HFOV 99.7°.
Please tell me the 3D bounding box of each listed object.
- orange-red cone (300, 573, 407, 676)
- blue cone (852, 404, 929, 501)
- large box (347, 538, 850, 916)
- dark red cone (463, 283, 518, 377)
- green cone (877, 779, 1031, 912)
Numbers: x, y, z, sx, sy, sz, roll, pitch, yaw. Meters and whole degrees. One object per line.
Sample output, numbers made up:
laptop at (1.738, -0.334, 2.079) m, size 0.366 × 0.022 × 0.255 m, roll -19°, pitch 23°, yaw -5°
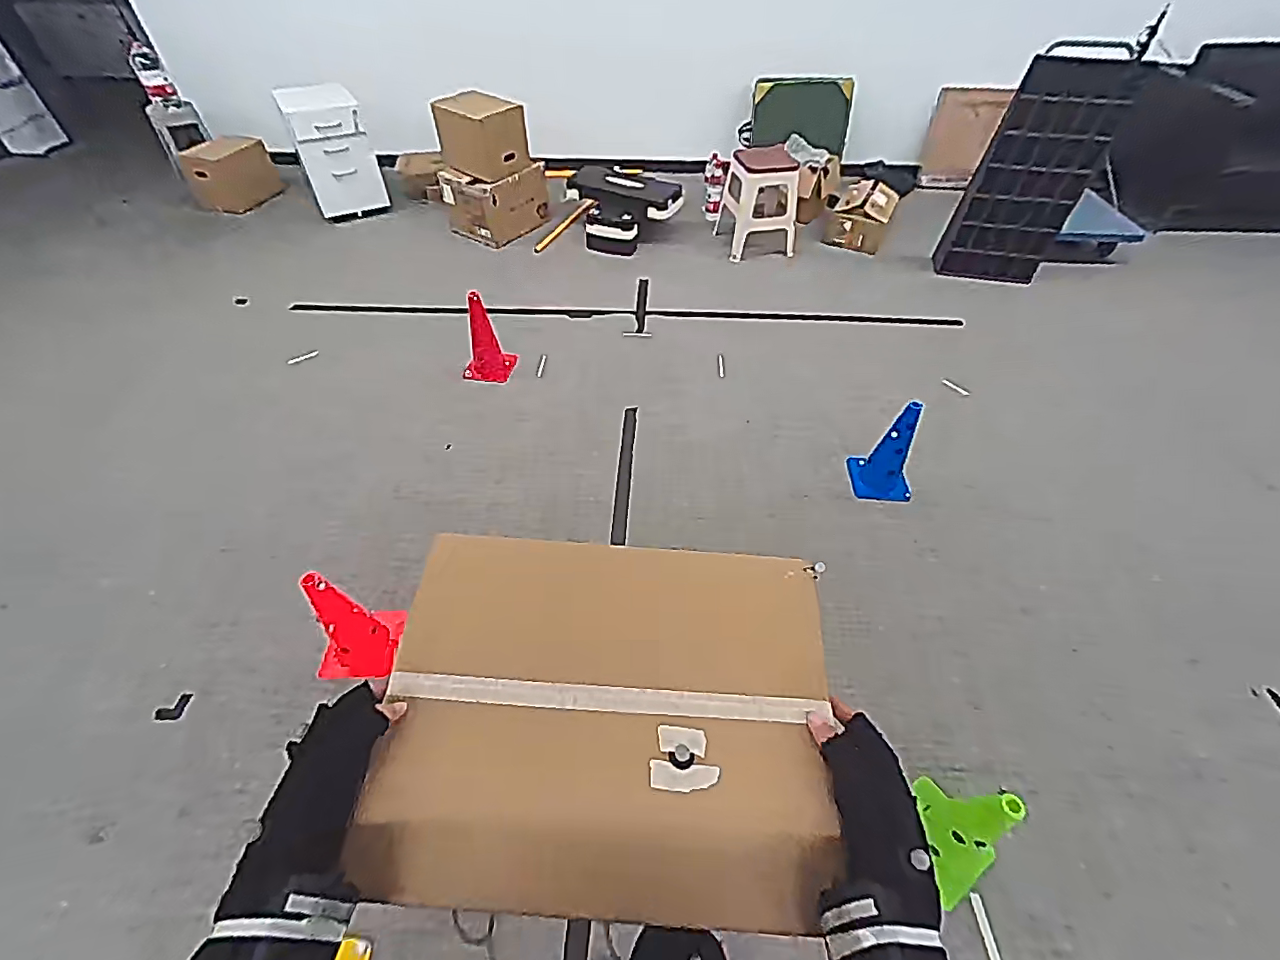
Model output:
orange-red cone at (-0.783, 0.353, 1.413) m, size 0.198 × 0.360 × 0.199 m, roll 0°, pitch 50°, yaw 0°
blue cone at (0.887, -0.109, 1.861) m, size 0.192 × 0.380 × 0.193 m, roll 5°, pitch 49°, yaw 3°
large box at (-0.031, 0.286, 0.626) m, size 0.408 × 0.320 × 0.320 m, roll 4°, pitch 55°, yaw 0°
dark red cone at (-0.650, -0.630, 2.254) m, size 0.201 × 0.394 × 0.202 m, roll 7°, pitch 49°, yaw 4°
green cone at (0.680, 0.711, 1.108) m, size 0.202 × 0.368 × 0.200 m, roll -26°, pitch 54°, yaw -24°
